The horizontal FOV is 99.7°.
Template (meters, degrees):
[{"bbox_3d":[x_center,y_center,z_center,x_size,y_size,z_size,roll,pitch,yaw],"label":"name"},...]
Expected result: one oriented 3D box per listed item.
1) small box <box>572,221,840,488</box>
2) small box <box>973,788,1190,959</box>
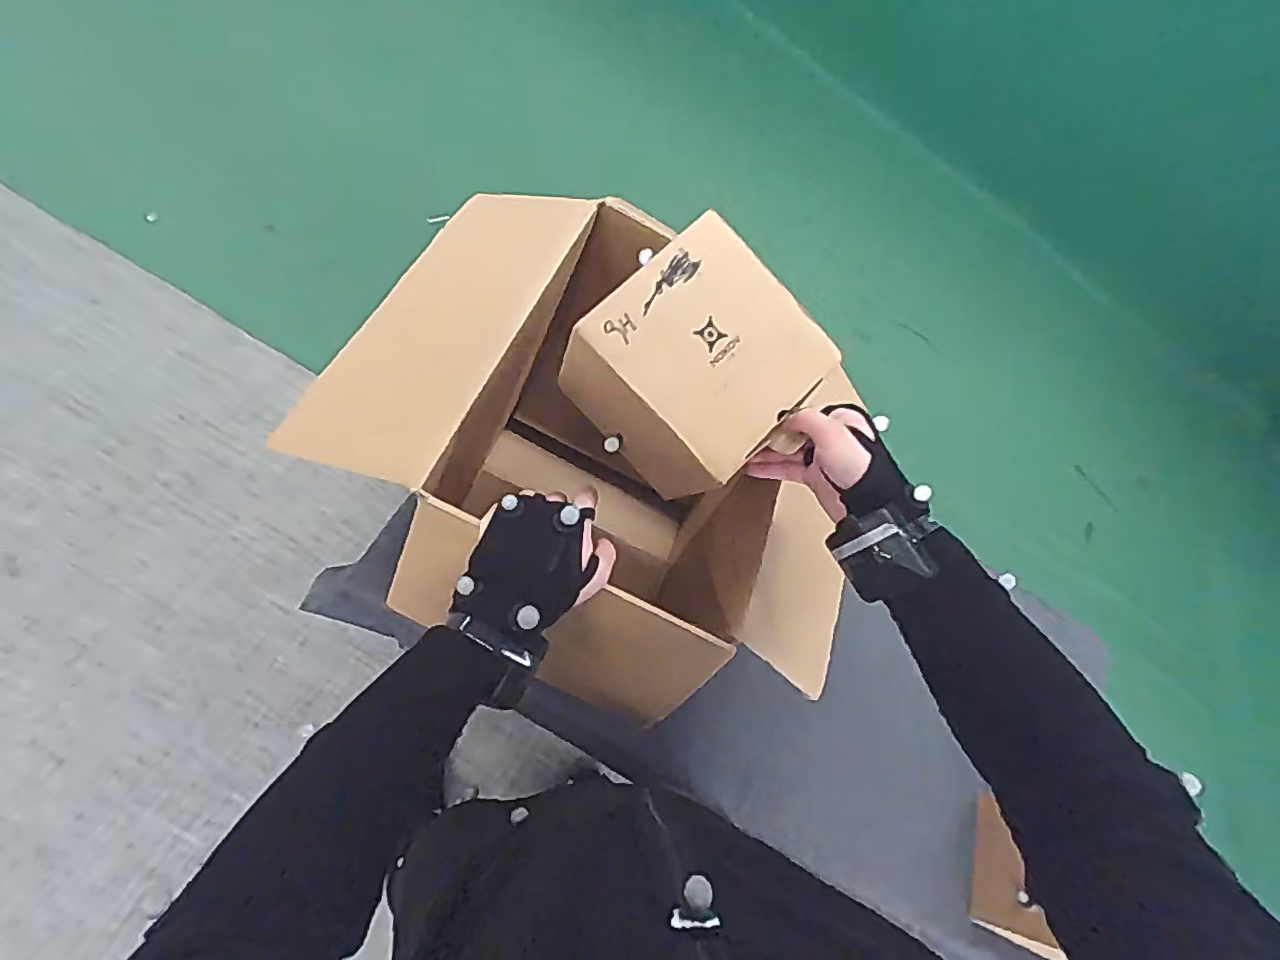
[{"bbox_3d":[0.051,-0.105,0.541,0.168,0.176,0.179,-45,94,-13],"label":"small box"},{"bbox_3d":[0.598,0.558,0.750,0.168,0.176,0.179,30,60,-7],"label":"small box"}]
